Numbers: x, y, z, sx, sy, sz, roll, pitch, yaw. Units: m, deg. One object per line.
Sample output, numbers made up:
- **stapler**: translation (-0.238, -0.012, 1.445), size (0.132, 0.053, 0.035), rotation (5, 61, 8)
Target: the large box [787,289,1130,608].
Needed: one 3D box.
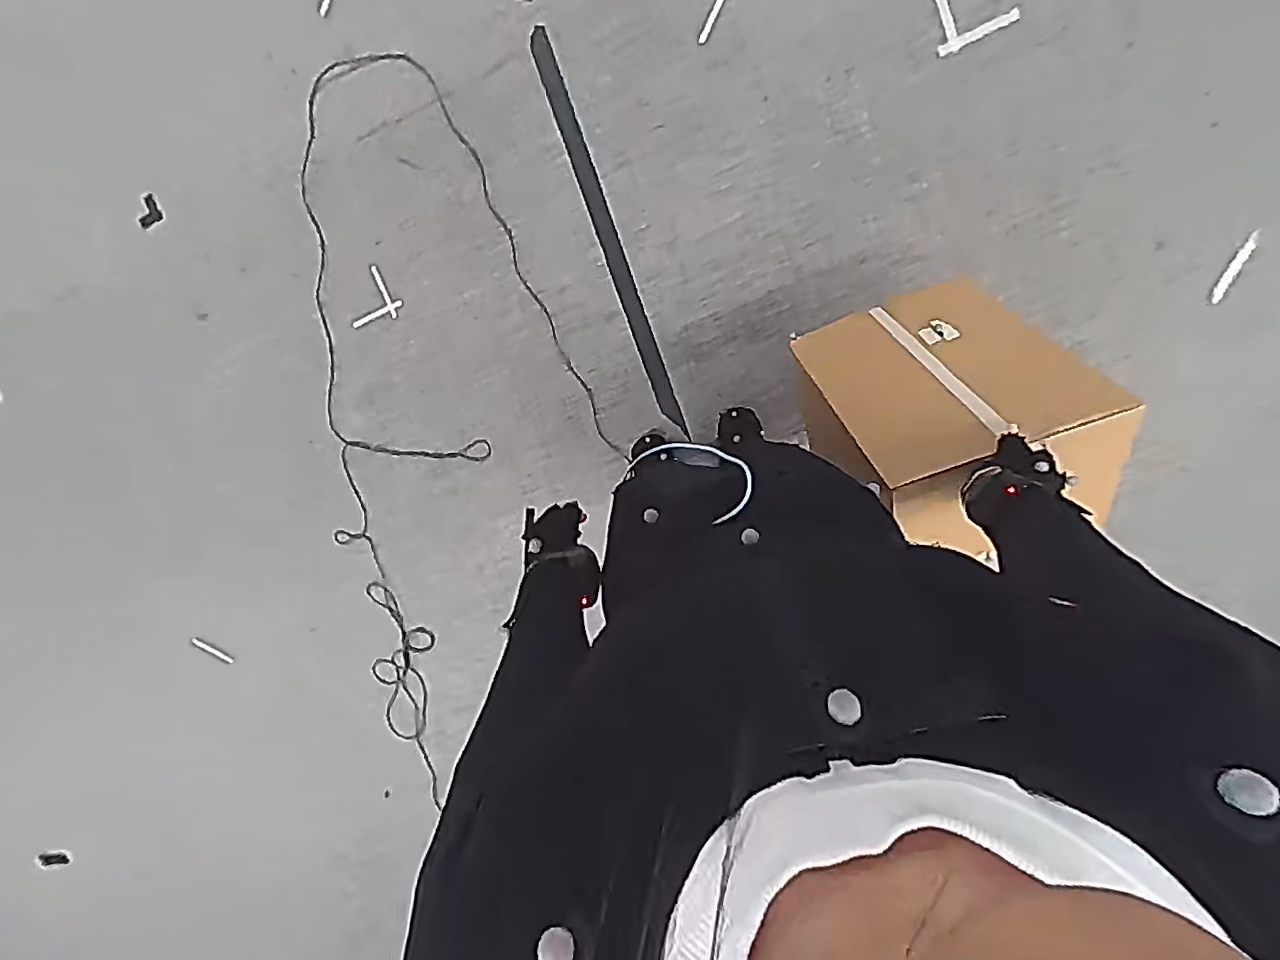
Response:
- **large box**: translation (0.494, -0.062, 0.931), size (0.320, 0.408, 0.320), rotation (-19, 131, 6)
